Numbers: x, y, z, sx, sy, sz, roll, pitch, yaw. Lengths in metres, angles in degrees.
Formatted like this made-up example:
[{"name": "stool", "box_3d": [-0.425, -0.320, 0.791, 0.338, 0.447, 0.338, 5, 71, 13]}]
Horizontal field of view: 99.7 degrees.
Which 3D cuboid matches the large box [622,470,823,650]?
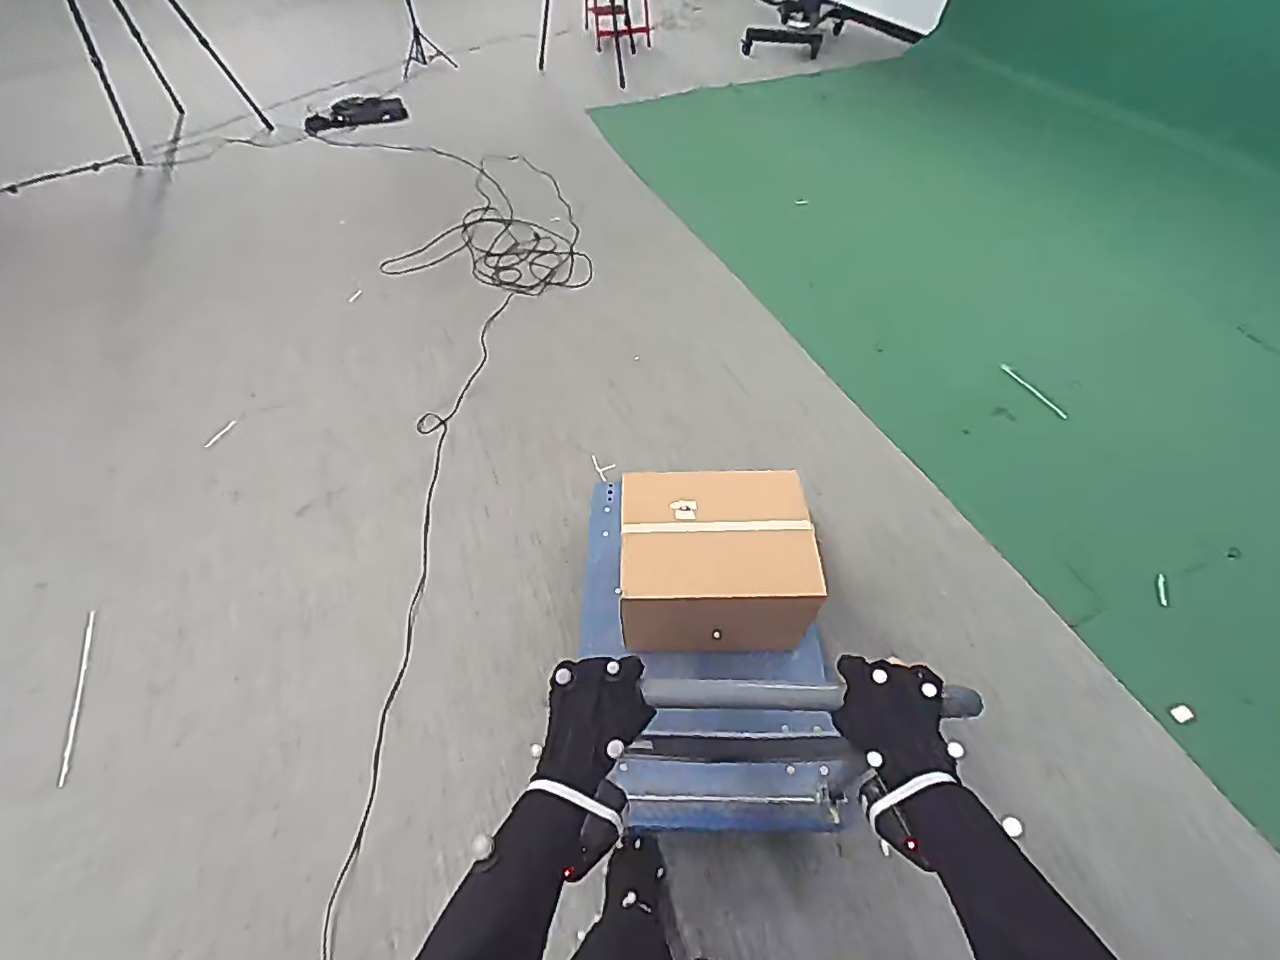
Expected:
[{"name": "large box", "box_3d": [0.168, 0.196, 1.272, 0.408, 0.320, 0.320, -2, 53, 1]}]
